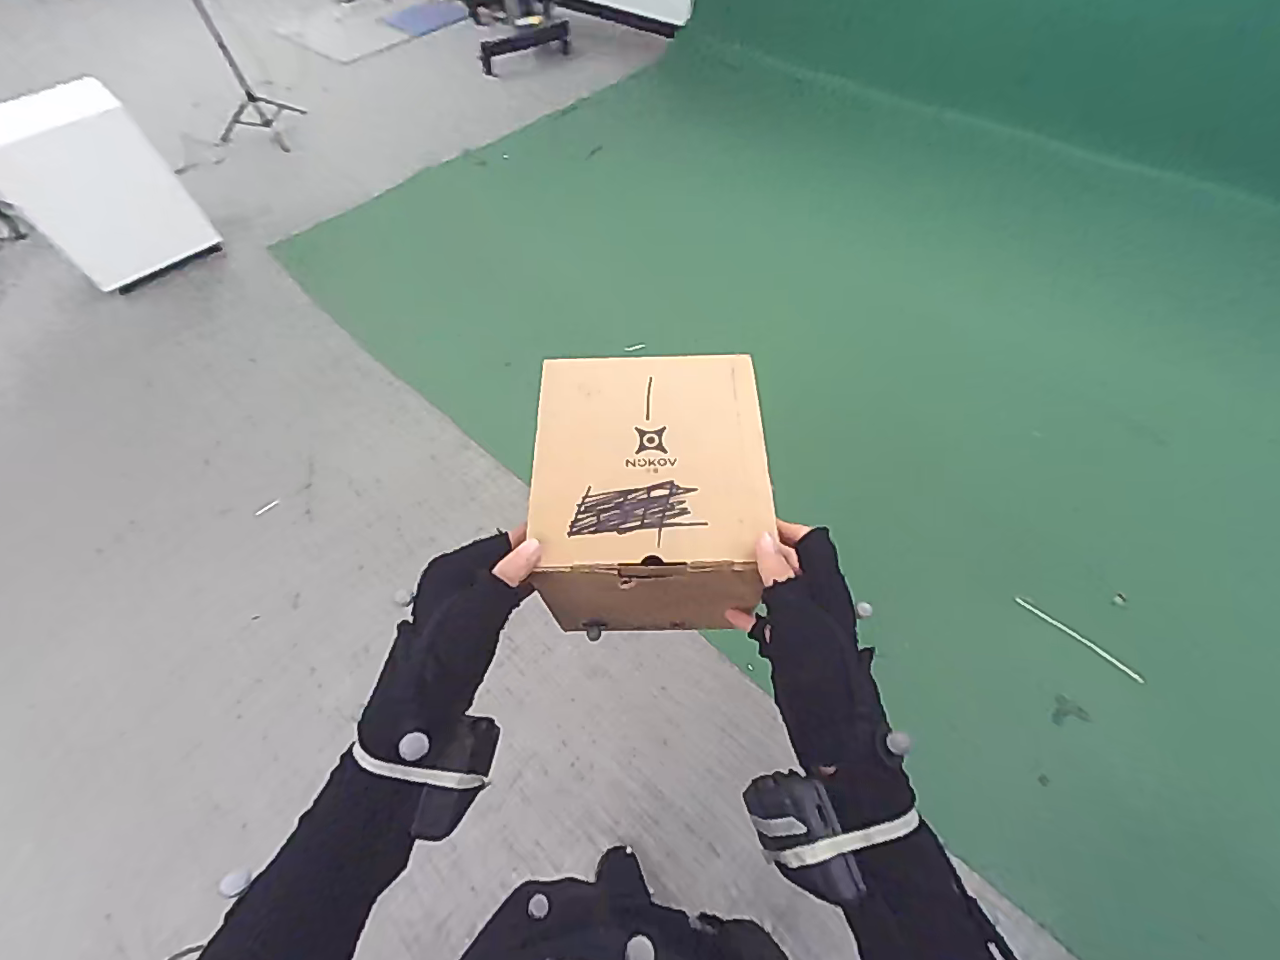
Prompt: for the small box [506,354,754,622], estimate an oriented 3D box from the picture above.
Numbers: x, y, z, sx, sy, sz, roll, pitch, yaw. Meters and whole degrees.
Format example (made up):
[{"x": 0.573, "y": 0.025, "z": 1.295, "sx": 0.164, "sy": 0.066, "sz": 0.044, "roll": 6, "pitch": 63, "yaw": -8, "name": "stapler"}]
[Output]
[{"x": -0.004, "y": 0.017, "z": 0.456, "sx": 0.168, "sy": 0.176, "sz": 0.179, "roll": -1, "pitch": 60, "yaw": 1, "name": "small box"}]
